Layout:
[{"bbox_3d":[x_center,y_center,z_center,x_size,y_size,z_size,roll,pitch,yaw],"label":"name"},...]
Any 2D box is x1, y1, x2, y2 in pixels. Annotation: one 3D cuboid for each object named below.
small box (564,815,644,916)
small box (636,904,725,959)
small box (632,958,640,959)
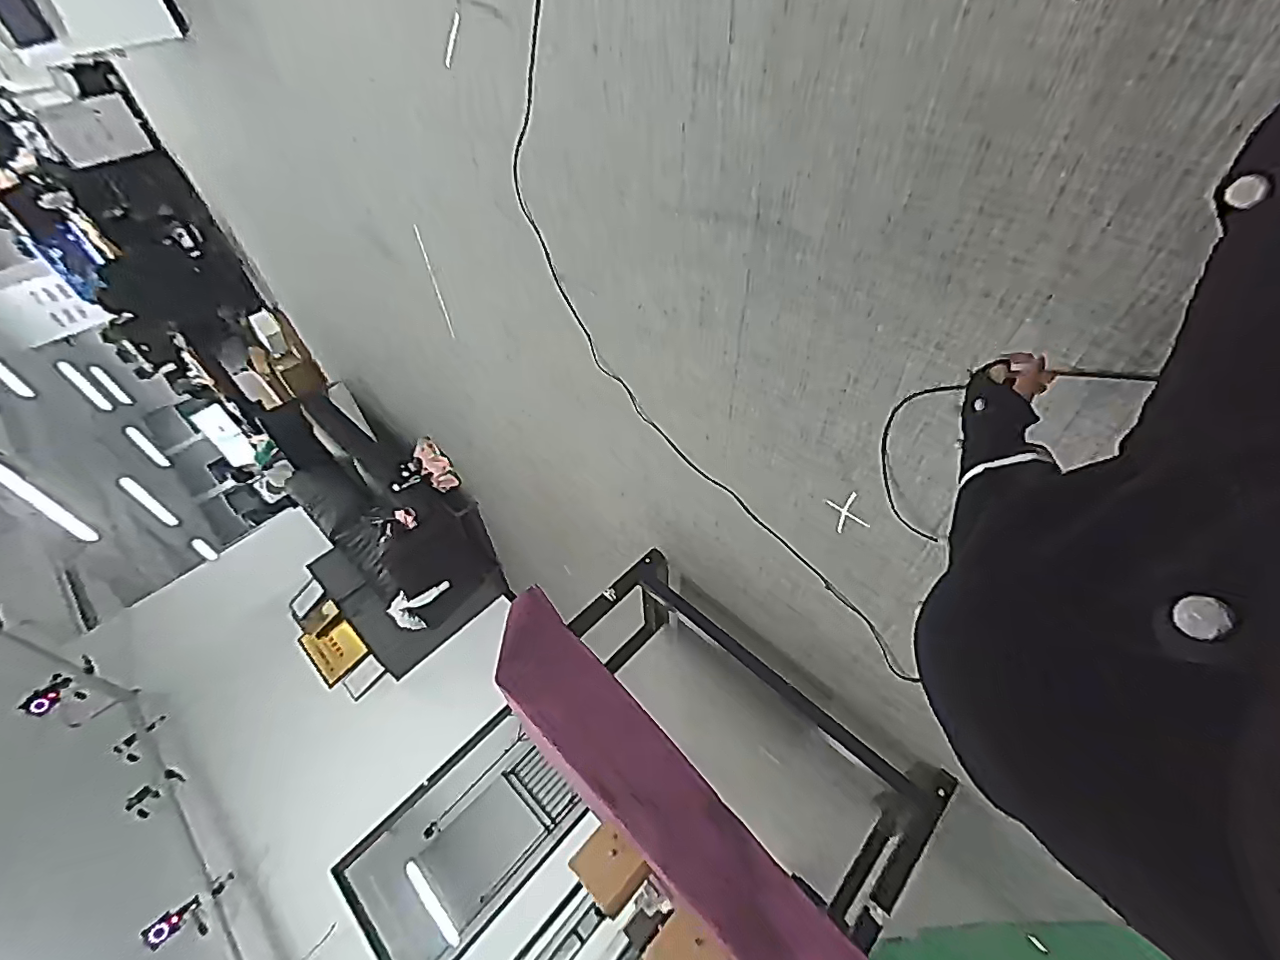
[{"bbox_3d":[-0.103,1.171,1.648,0.168,0.176,0.179,30,145,34],"label":"small box"},{"bbox_3d":[0.110,1.317,1.497,0.179,0.176,0.168,34,148,31],"label":"small box"},{"bbox_3d":[-0.005,1.408,1.422,0.179,0.176,0.168,33,147,30],"label":"small box"}]
